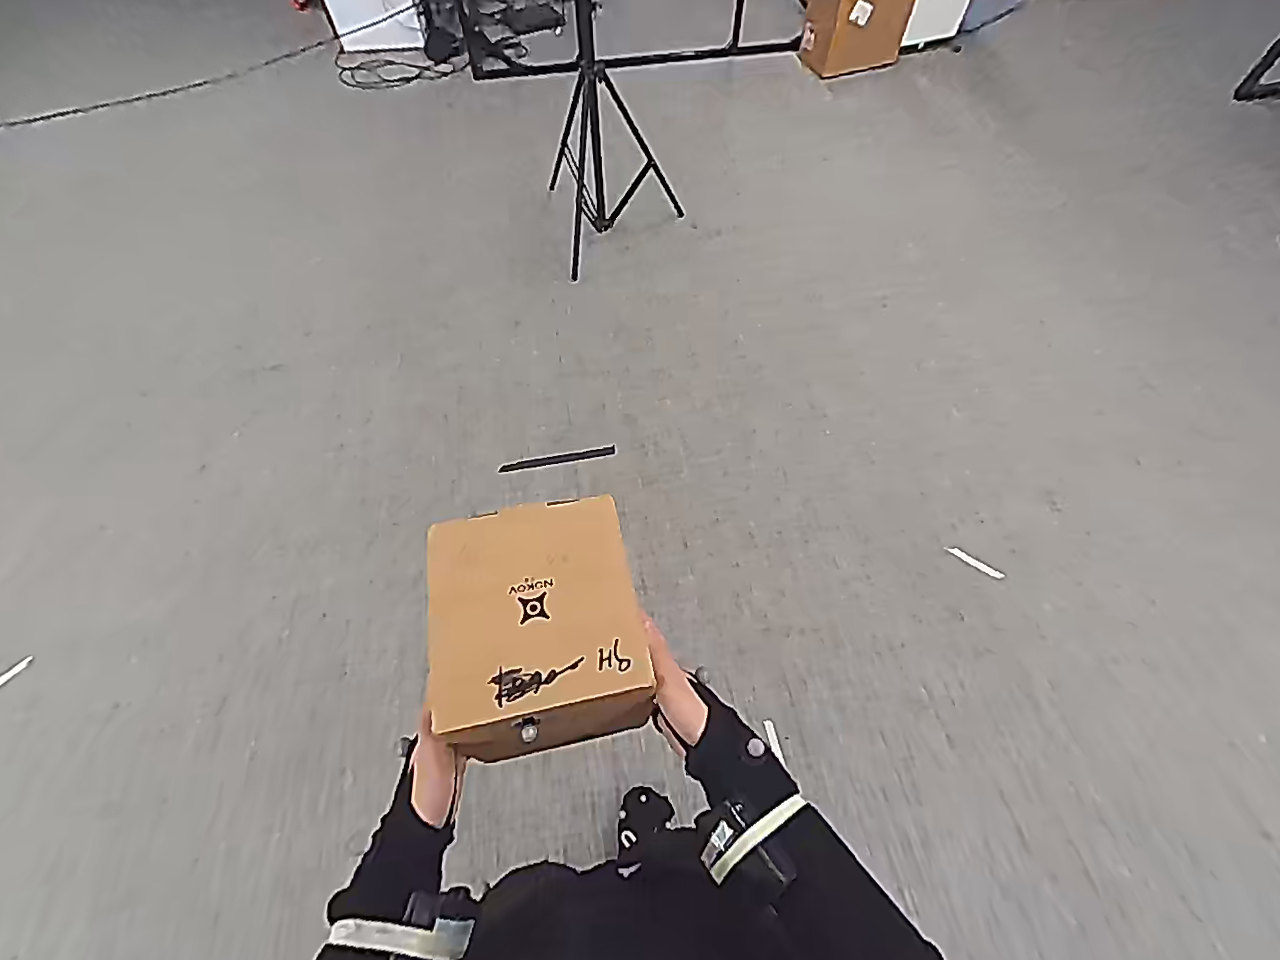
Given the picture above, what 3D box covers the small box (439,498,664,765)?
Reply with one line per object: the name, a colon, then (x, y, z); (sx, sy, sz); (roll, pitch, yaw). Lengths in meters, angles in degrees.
small box: (-0.082, 0.143, 0.504); (0.168, 0.176, 0.179); (-10, 57, -9)
